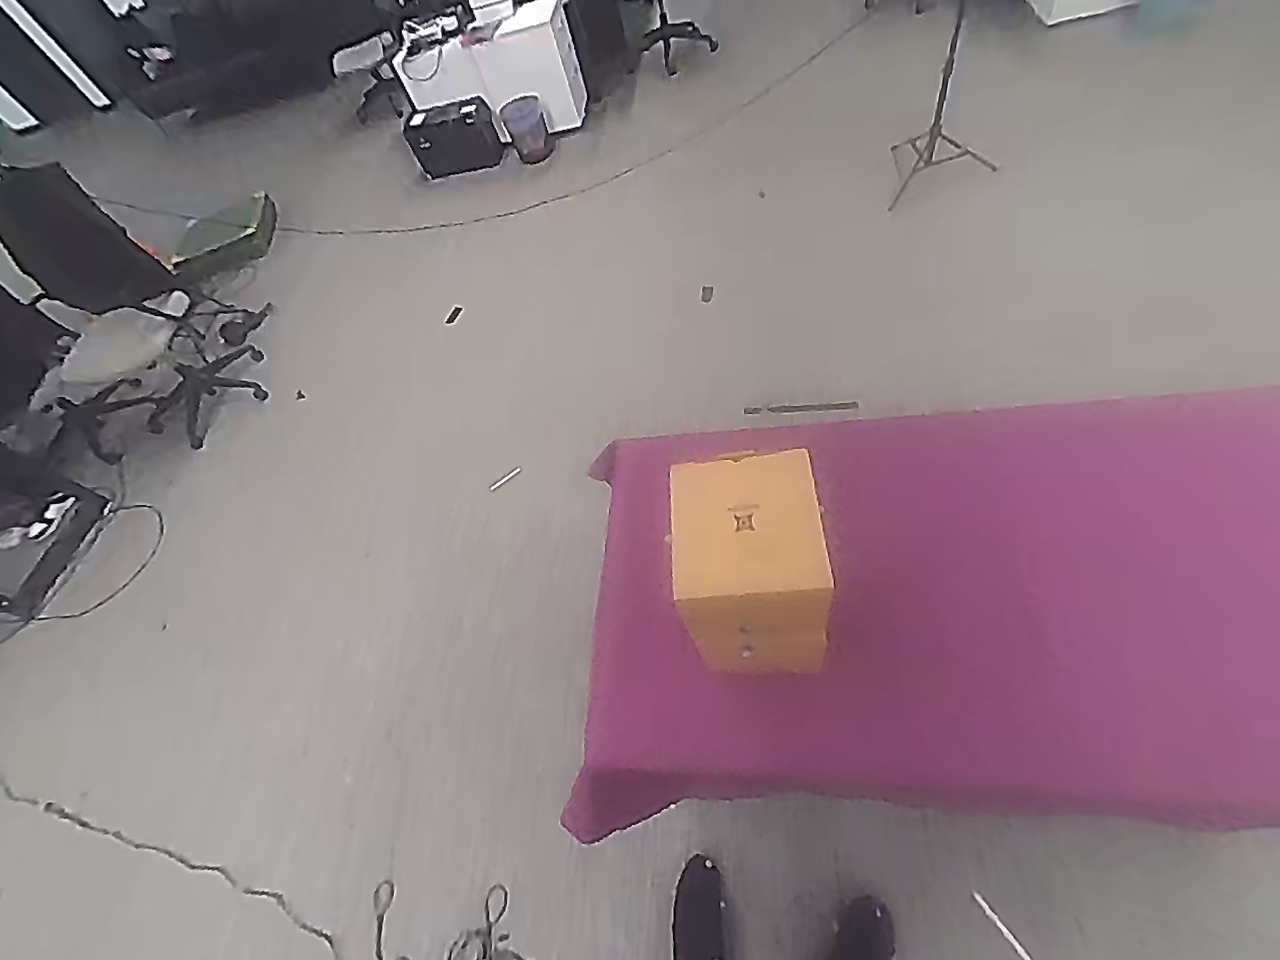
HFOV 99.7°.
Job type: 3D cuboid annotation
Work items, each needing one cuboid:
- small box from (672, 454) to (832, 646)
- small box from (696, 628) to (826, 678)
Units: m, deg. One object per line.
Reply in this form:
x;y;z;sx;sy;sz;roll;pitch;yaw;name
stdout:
0.133;0.092;0.667;0.168;0.176;0.179;-7;56;11;small box
0.174;0.181;0.798;0.168;0.176;0.179;-5;56;12;small box
